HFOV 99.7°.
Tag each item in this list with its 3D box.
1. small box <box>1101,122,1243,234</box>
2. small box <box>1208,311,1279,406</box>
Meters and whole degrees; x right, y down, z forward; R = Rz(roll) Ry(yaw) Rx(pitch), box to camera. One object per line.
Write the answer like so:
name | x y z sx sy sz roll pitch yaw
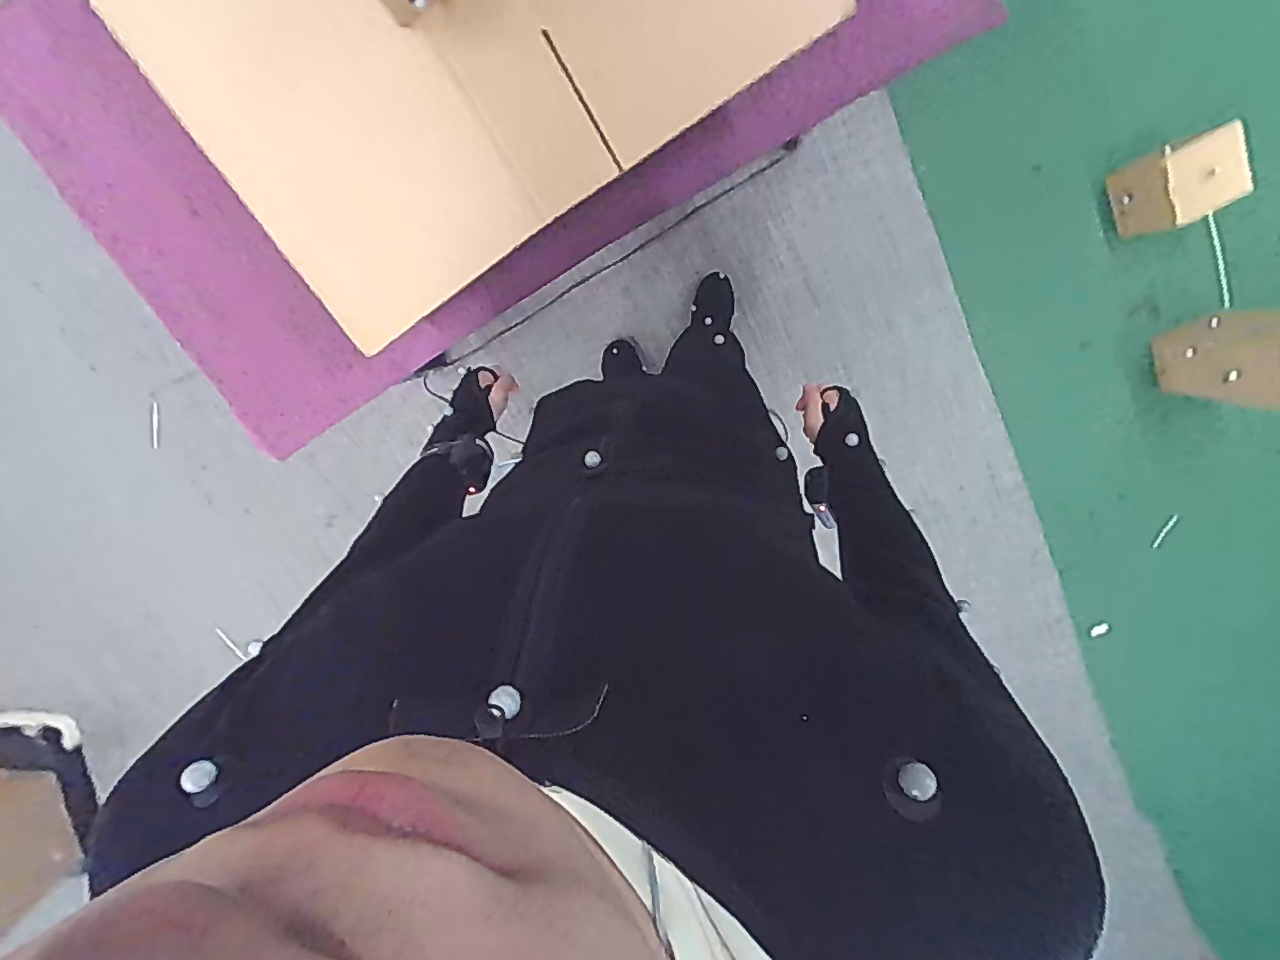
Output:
small box | 1.314 -0.740 1.344 0.179 0.176 0.168 -28 105 8
small box | 1.551 -0.299 1.305 0.179 0.176 0.168 -26 105 7
